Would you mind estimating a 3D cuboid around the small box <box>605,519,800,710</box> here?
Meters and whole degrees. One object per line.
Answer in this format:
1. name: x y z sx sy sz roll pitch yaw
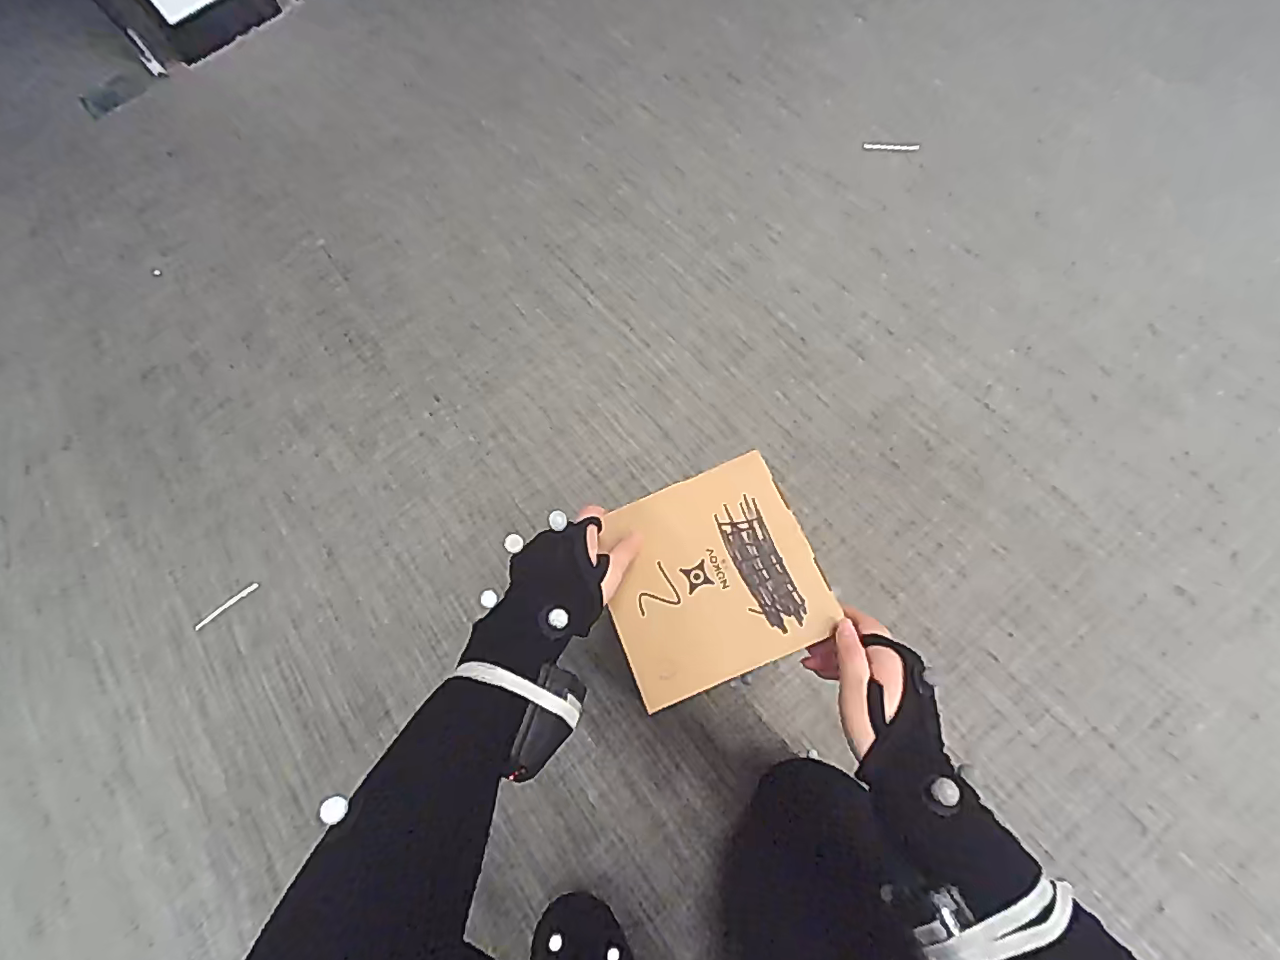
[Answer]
1. small box: 0.075 0.176 0.681 0.179 0.176 0.168 -23 67 -3
